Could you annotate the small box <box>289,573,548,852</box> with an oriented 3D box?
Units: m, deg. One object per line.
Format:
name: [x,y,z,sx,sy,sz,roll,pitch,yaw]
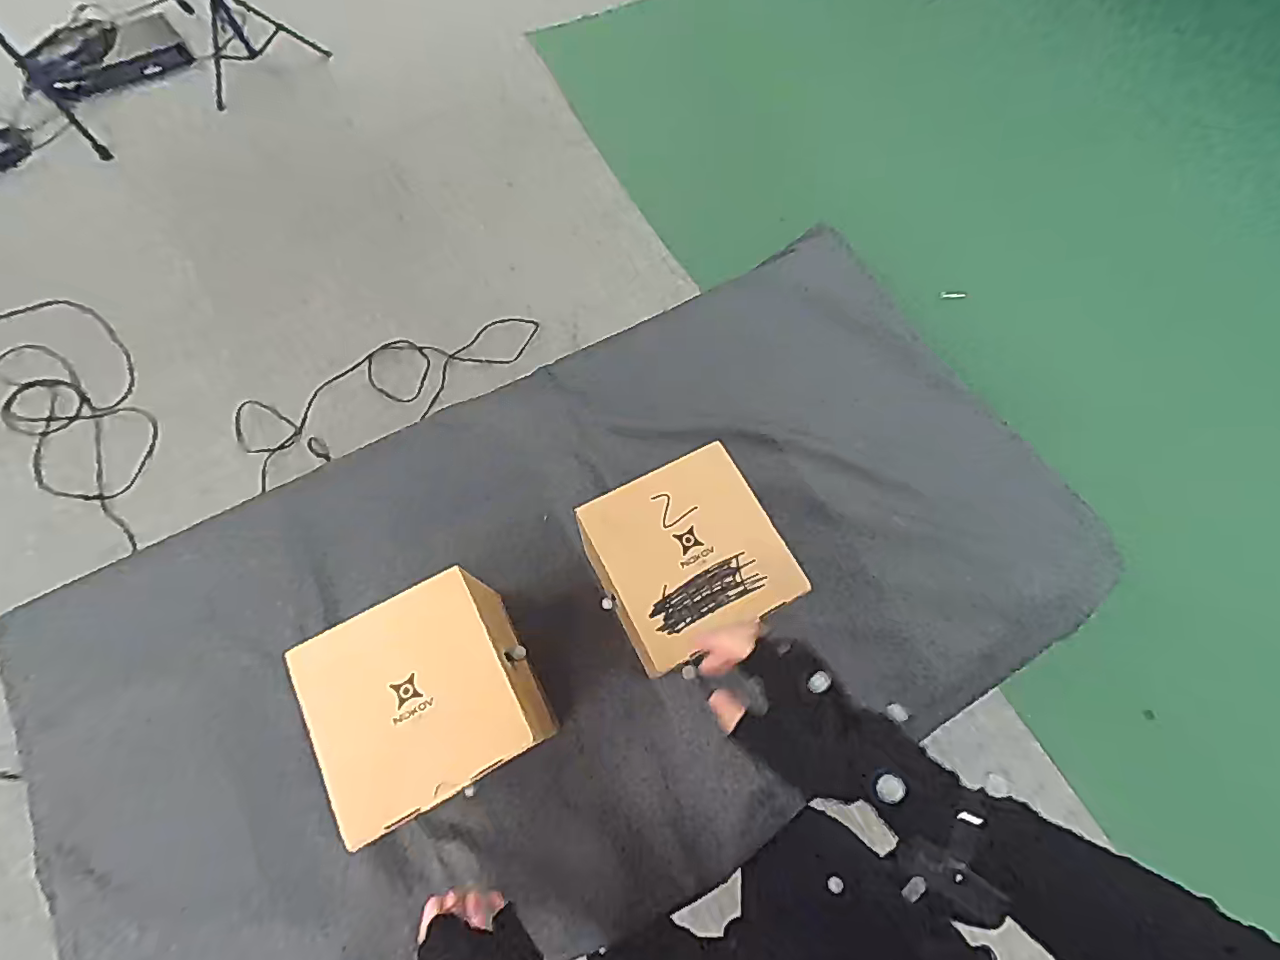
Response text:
small box: [-0.205,0.220,0.542,0.168,0.176,0.179,-25,73,-12]
